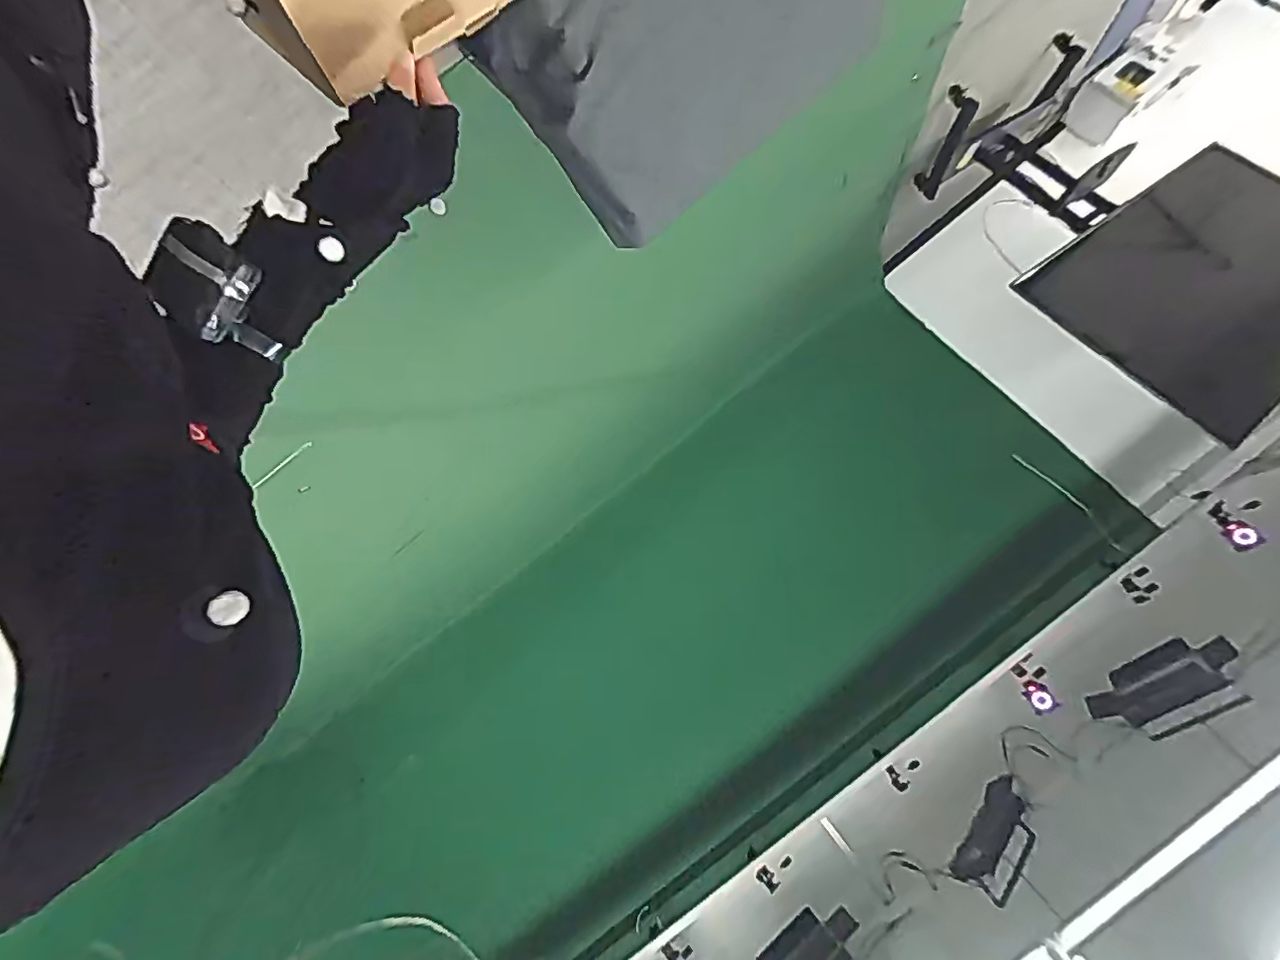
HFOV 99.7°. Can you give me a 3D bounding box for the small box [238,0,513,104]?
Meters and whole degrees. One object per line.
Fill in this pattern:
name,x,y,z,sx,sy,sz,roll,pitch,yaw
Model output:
small box,-0.204,-0.393,0.334,0.168,0.176,0.179,-44,159,-10
